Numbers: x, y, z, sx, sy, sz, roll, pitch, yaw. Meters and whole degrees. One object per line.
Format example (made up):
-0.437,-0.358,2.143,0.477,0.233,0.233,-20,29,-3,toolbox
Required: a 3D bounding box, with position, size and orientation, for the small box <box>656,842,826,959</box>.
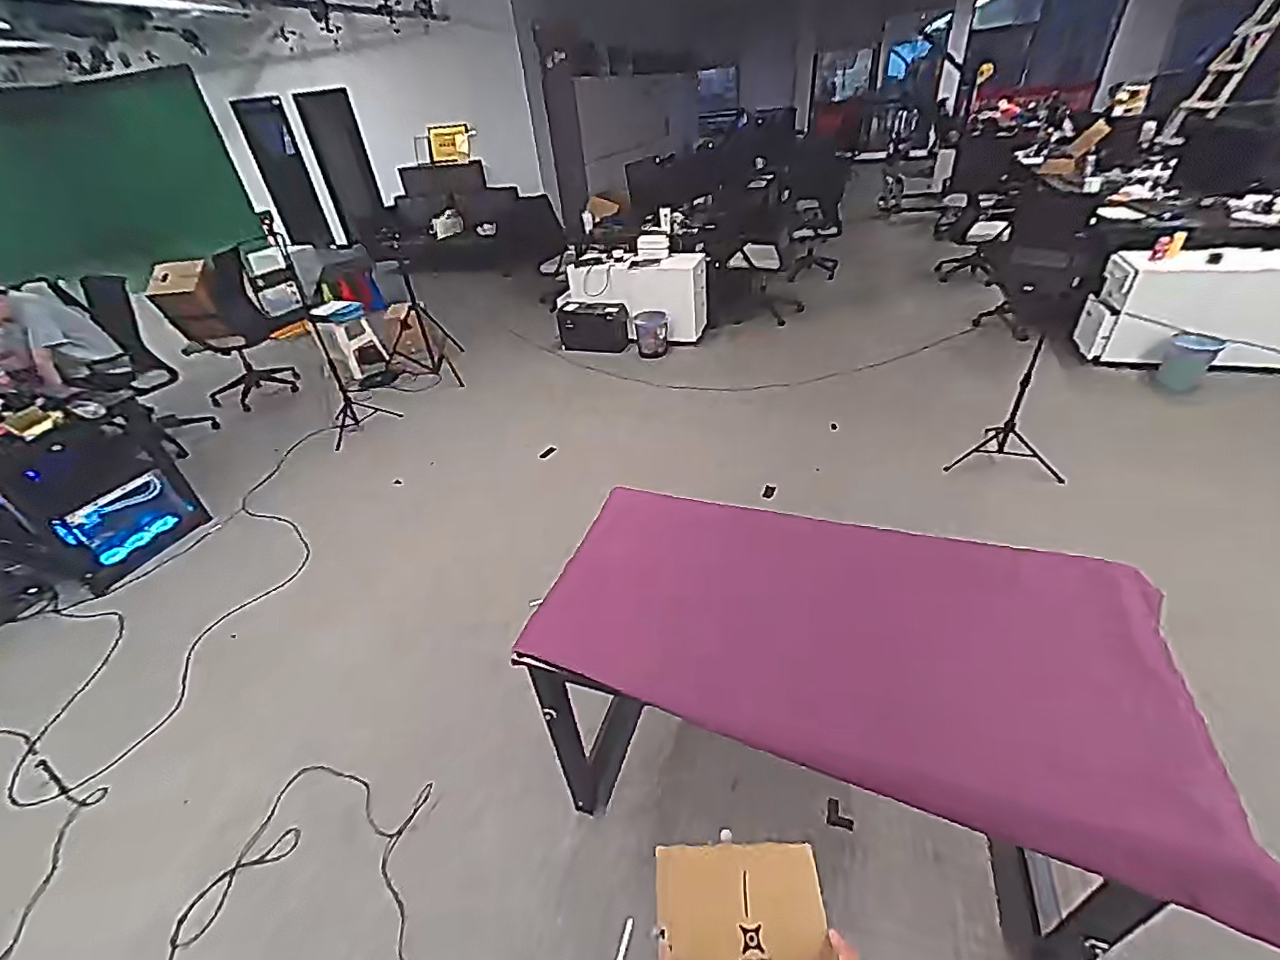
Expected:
0.106,0.524,0.620,0.168,0.176,0.179,1,56,-3,small box
